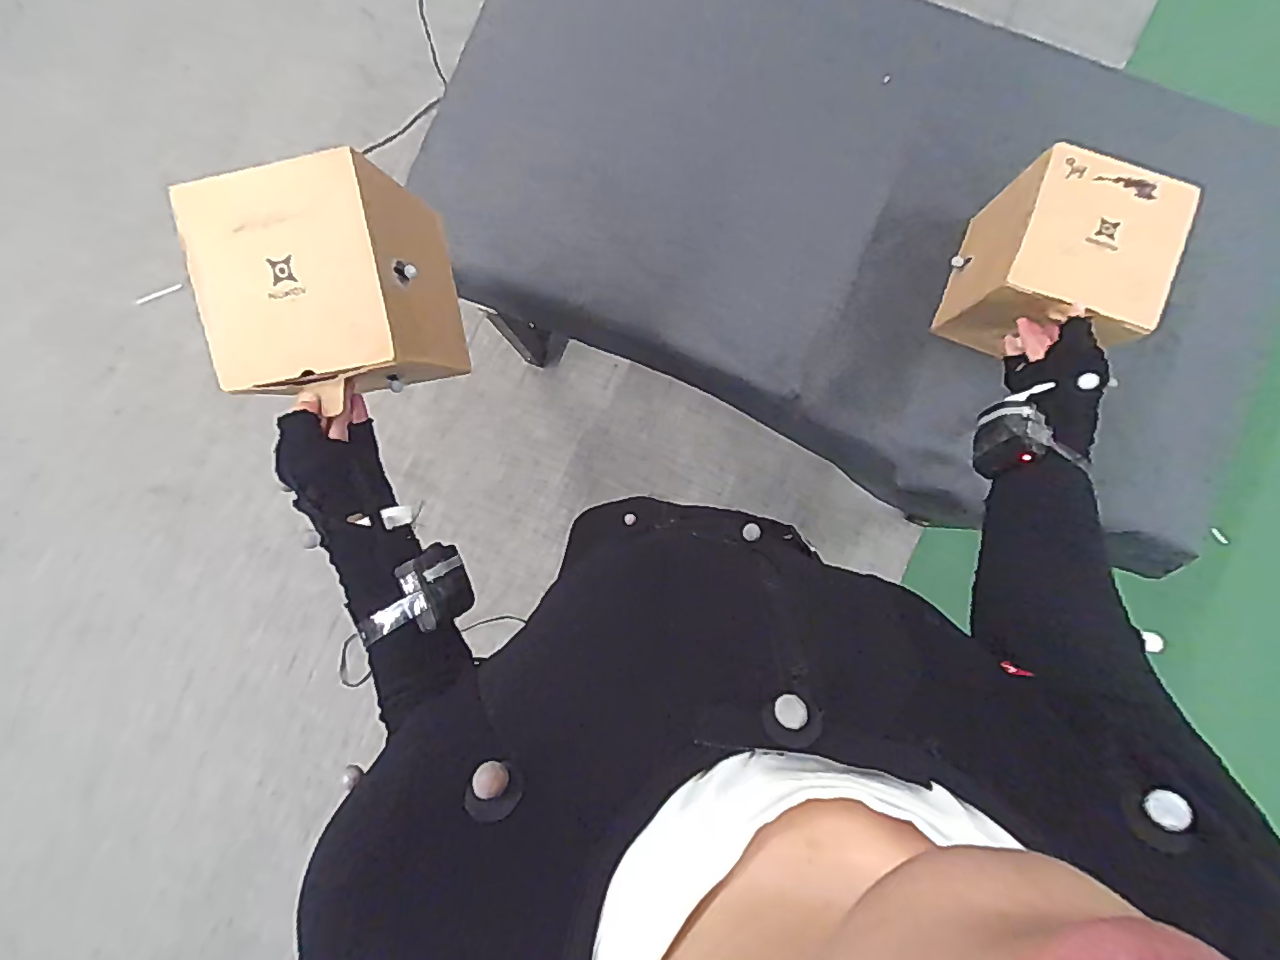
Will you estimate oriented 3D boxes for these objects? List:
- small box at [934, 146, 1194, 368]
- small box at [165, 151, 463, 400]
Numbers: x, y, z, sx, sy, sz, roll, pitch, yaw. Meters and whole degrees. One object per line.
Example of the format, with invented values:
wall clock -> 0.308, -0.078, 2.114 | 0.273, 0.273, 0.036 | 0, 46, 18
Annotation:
small box -> 0.503, -0.258, 0.673 | 0.168, 0.176, 0.179 | 21, 88, 2
small box -> -0.292, -0.178, 0.527 | 0.168, 0.176, 0.179 | -9, 97, 5
